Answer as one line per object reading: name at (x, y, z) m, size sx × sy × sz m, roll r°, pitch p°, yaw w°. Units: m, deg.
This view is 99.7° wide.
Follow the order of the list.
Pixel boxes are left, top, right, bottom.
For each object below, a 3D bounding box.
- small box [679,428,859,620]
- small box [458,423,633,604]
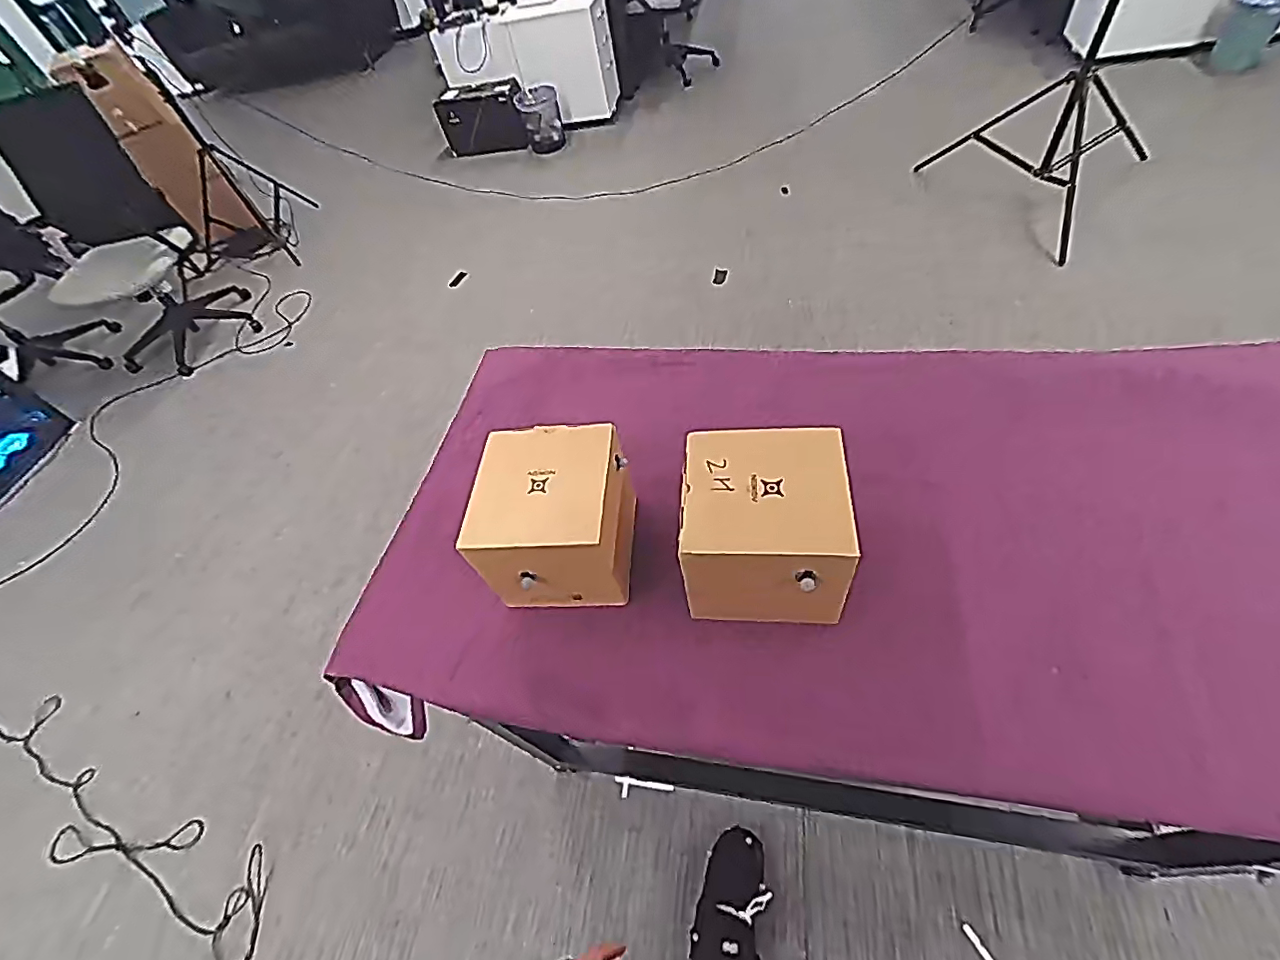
small box at (0.144, 0.056, 0.639) m, size 0.179 × 0.176 × 0.168 m, roll -1°, pitch 52°, yaw 11°
small box at (-0.105, 0.051, 0.699) m, size 0.168 × 0.176 × 0.179 m, roll -3°, pitch 52°, yaw 9°
